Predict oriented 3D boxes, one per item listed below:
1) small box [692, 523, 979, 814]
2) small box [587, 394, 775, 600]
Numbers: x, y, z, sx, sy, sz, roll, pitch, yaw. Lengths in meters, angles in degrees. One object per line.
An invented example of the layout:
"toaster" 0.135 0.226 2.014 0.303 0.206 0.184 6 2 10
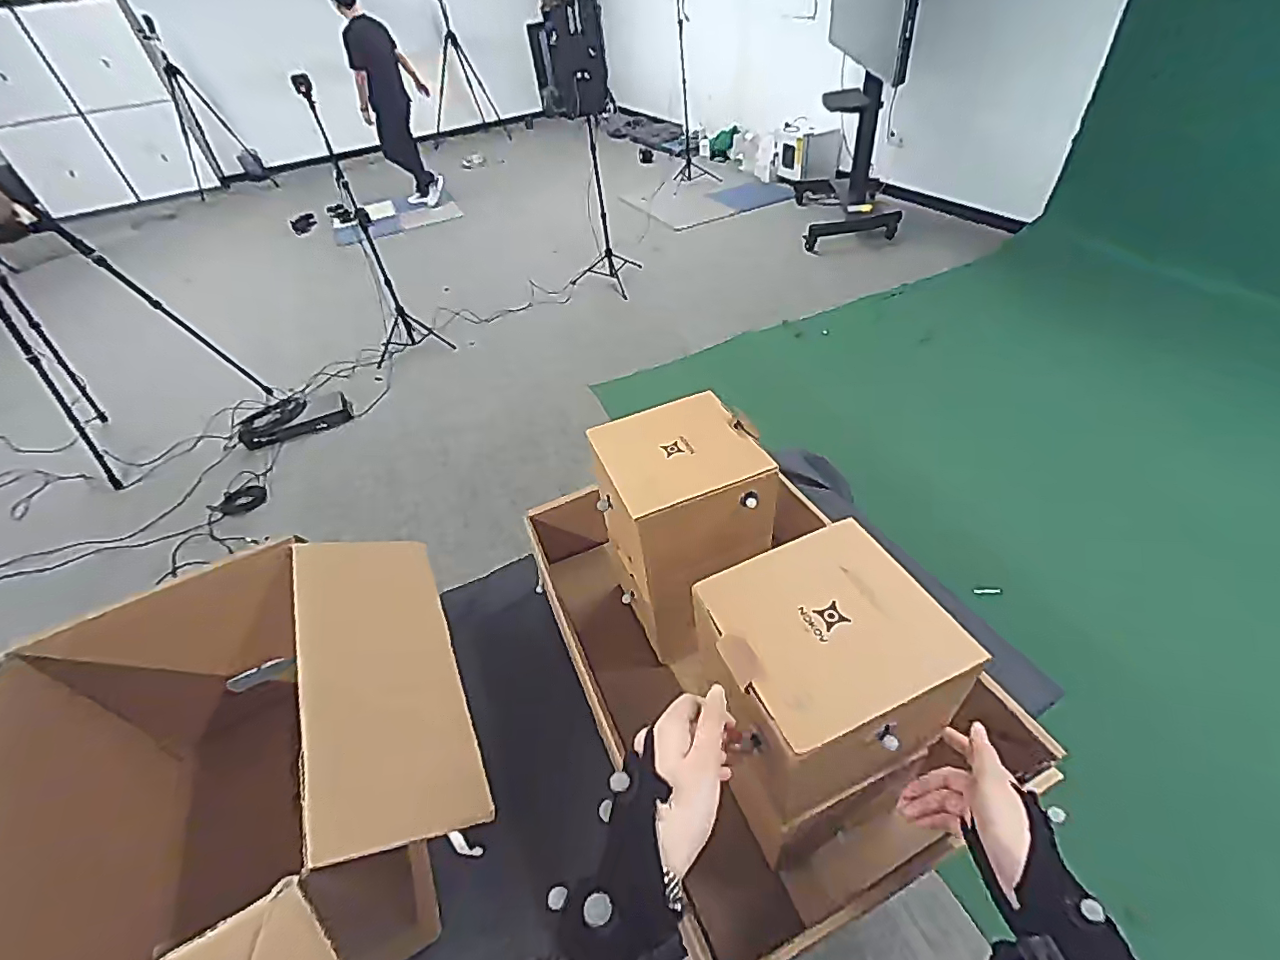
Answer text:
"small box" 0.165 0.177 0.509 0.179 0.176 0.168 -20 46 -12
"small box" 0.051 0.023 0.685 0.179 0.176 0.168 -19 46 -12
